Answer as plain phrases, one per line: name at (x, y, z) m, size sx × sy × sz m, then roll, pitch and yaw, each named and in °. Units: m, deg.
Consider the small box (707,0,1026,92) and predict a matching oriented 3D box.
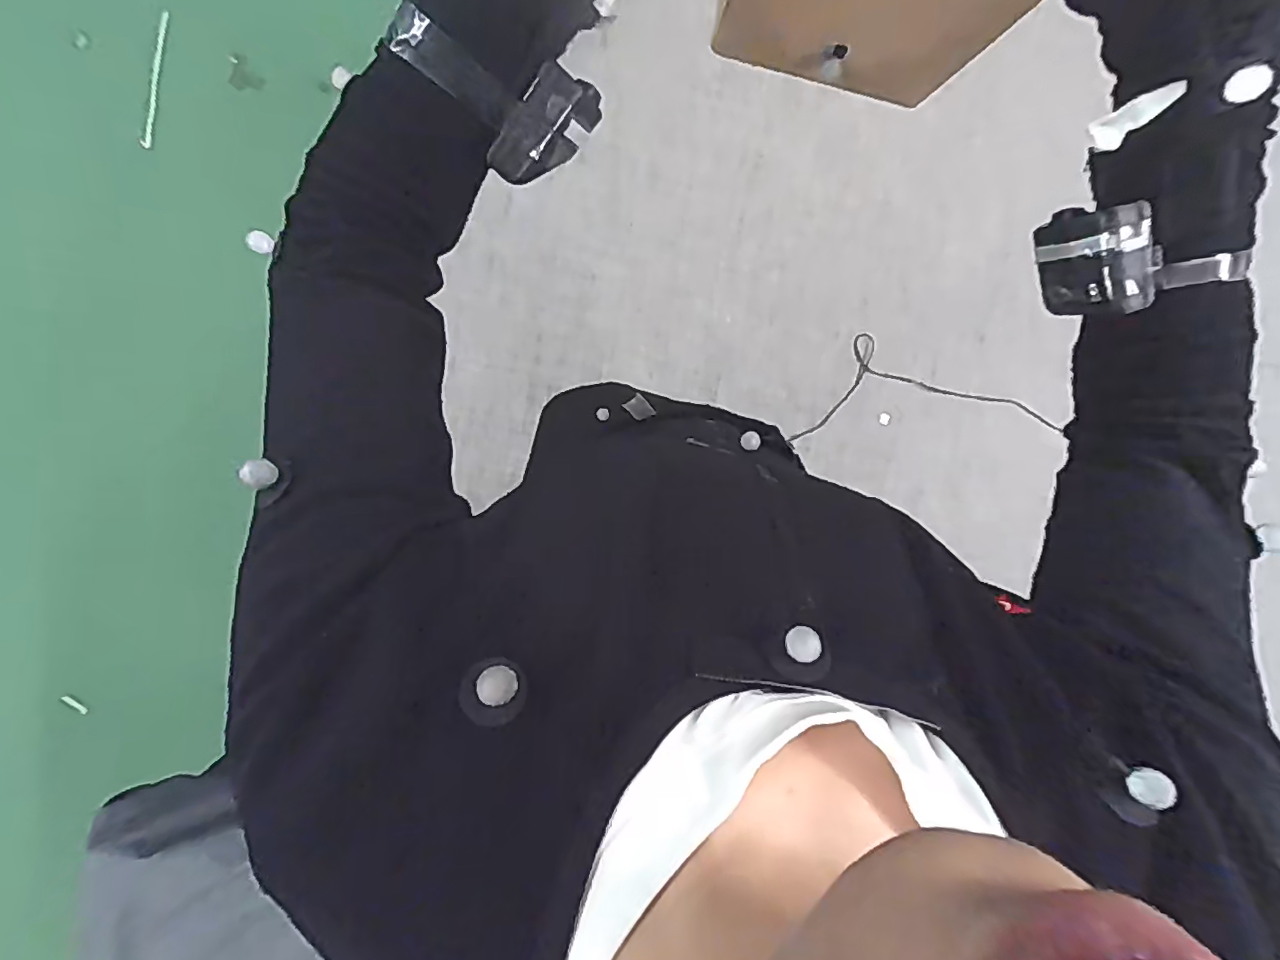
small box at (0.158, -0.383, 0.335) m, size 0.179 × 0.176 × 0.168 m, roll 10°, pitch 99°, yaw -8°
